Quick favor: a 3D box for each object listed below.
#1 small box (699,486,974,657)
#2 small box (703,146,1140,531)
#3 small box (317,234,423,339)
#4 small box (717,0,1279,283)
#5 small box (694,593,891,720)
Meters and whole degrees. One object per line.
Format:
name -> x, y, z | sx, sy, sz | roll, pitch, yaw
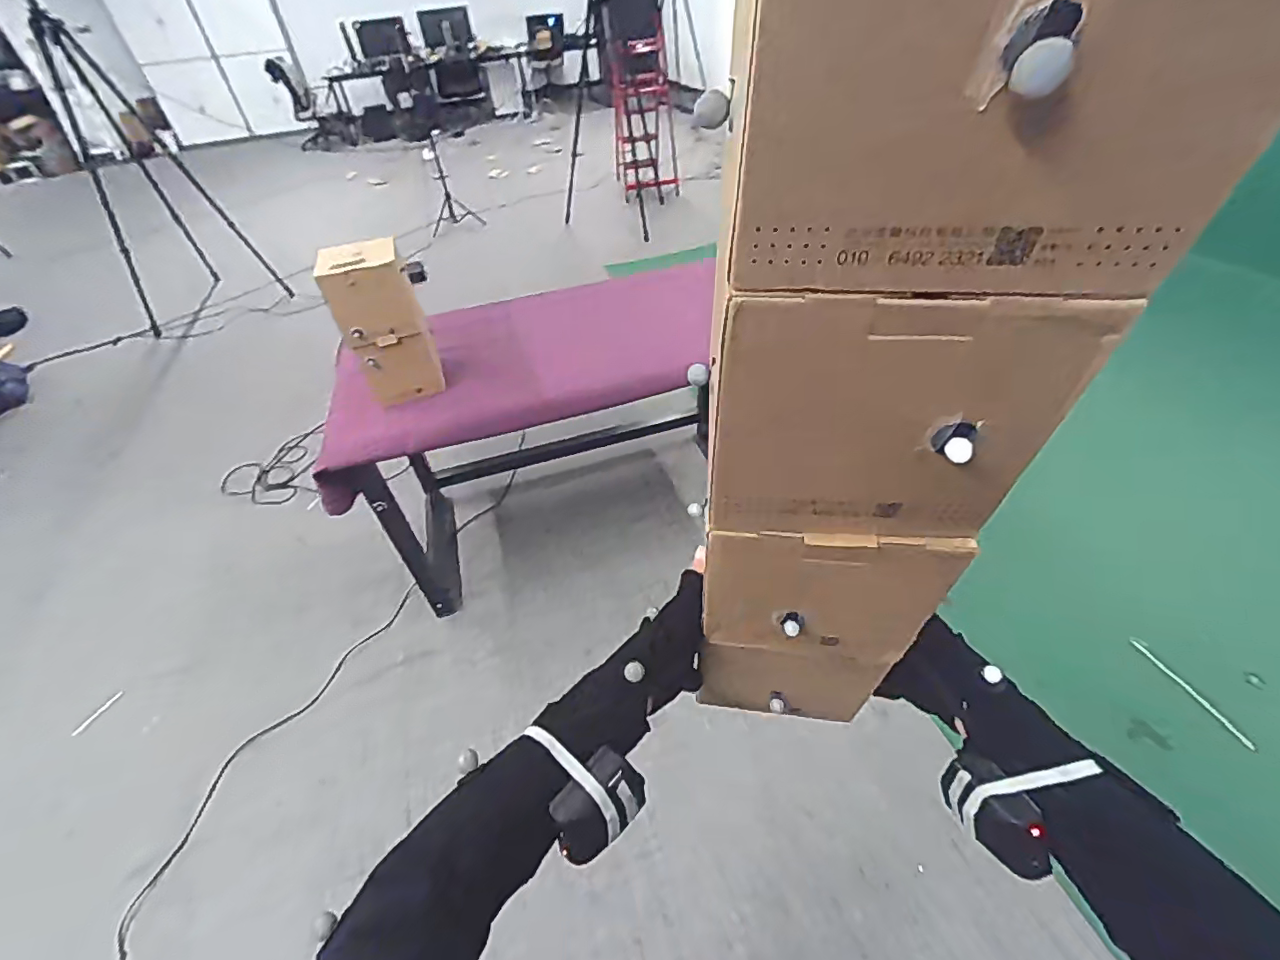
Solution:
small box -> 0.137, 0.025, 0.451 | 0.168, 0.176, 0.179 | 3, 51, 7
small box -> 0.126, -0.084, 0.330 | 0.168, 0.176, 0.179 | 2, 50, 5
small box -> -0.604, -0.435, 1.232 | 0.168, 0.176, 0.179 | -13, 44, -10
small box -> 0.120, -0.193, 0.207 | 0.168, 0.176, 0.179 | 3, 52, 5
small box -> 0.147, 0.130, 0.574 | 0.168, 0.176, 0.179 | 4, 50, 8
